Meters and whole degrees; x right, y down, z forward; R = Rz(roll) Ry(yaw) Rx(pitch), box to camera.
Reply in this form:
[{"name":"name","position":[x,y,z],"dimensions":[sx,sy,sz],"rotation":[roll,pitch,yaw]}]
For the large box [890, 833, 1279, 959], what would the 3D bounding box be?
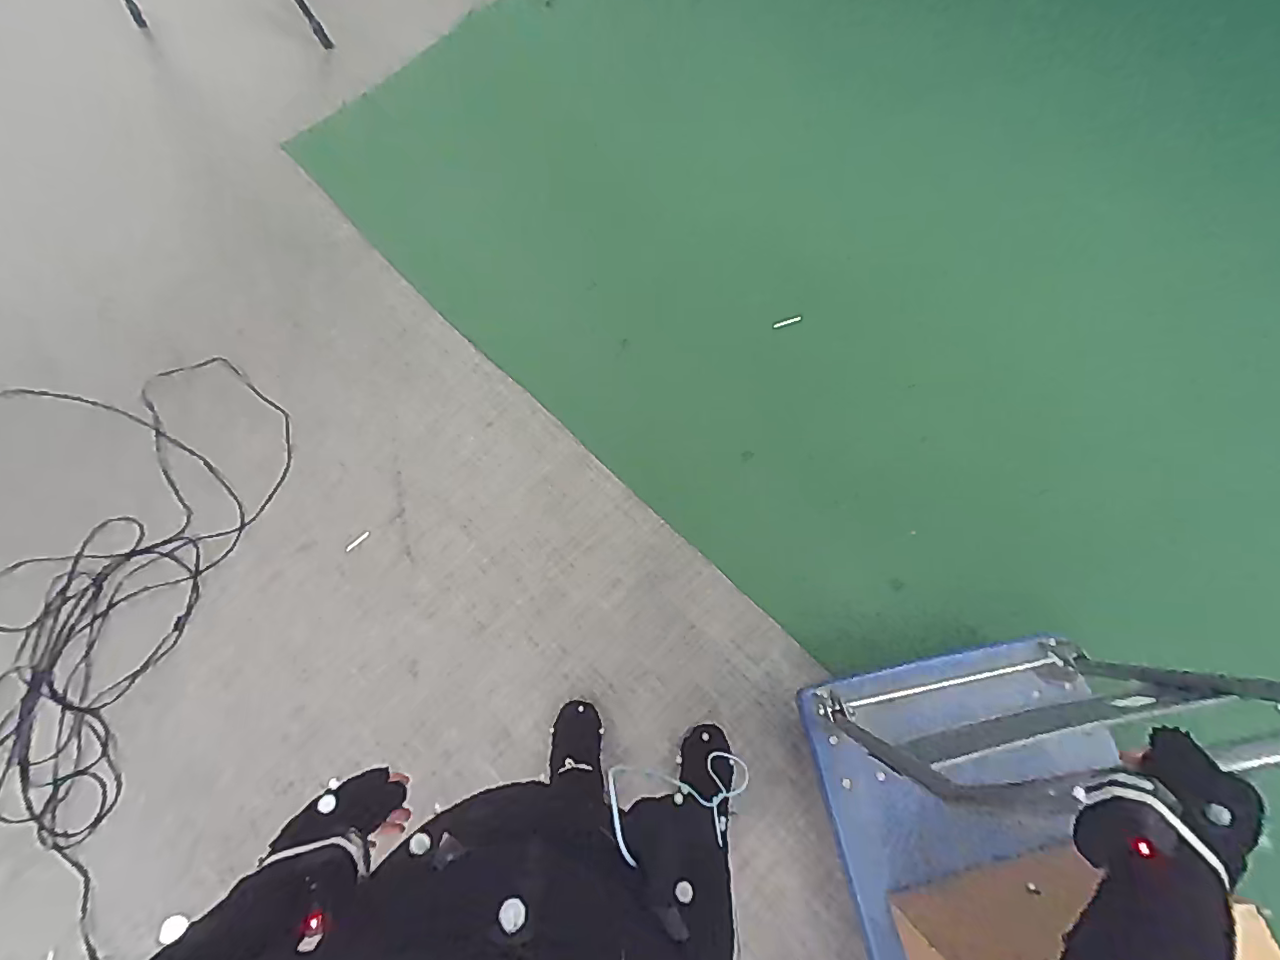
[{"name":"large box","position":[0.679,0.798,0.814],"dimensions":[0.408,0.320,0.320],"rotation":[-16,71,-3]}]
